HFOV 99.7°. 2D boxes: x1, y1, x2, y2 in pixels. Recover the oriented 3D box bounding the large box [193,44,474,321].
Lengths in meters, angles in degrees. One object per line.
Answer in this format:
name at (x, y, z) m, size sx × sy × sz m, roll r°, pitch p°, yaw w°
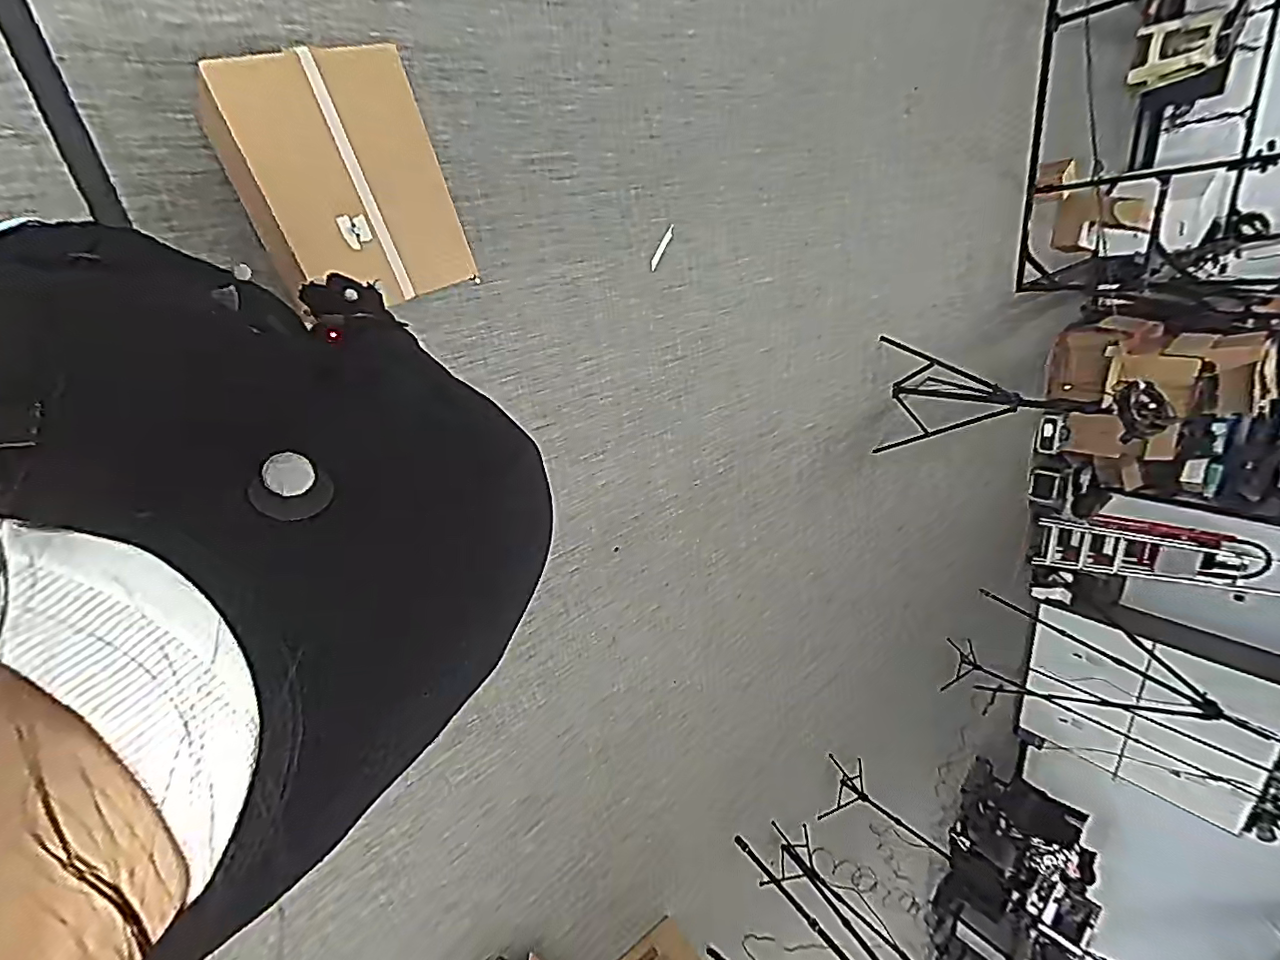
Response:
large box at (-0.603, -0.567, 1.085) m, size 0.320 × 0.320 × 0.408 m, roll -32°, pitch 122°, yaw -28°
